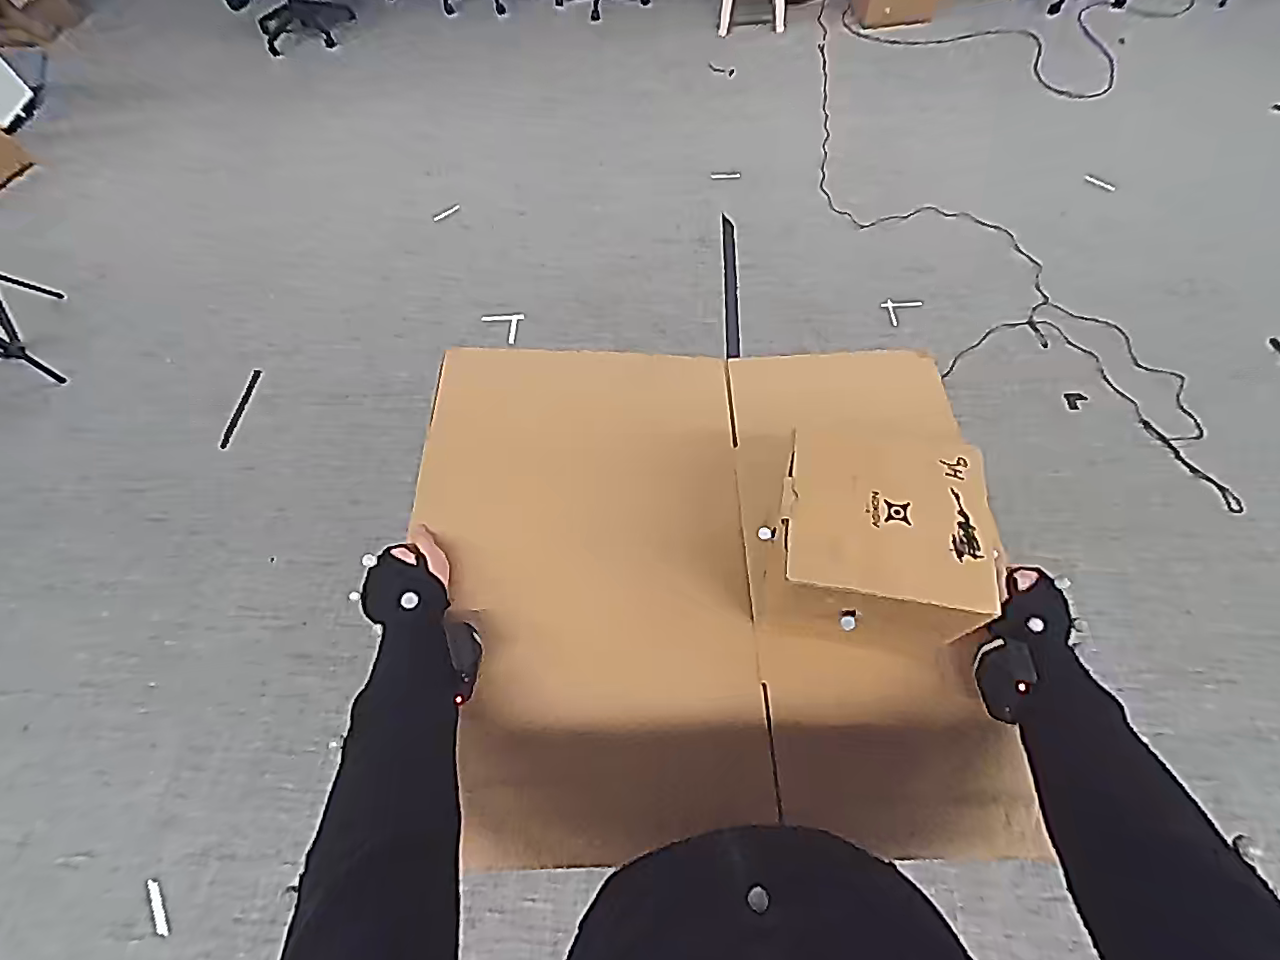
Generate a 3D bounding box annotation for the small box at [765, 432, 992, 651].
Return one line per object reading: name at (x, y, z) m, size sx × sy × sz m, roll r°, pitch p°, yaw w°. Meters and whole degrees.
small box at (0.230, 0.070, 0.566) m, size 0.179 × 0.176 × 0.168 m, roll 7°, pitch 62°, yaw 10°
